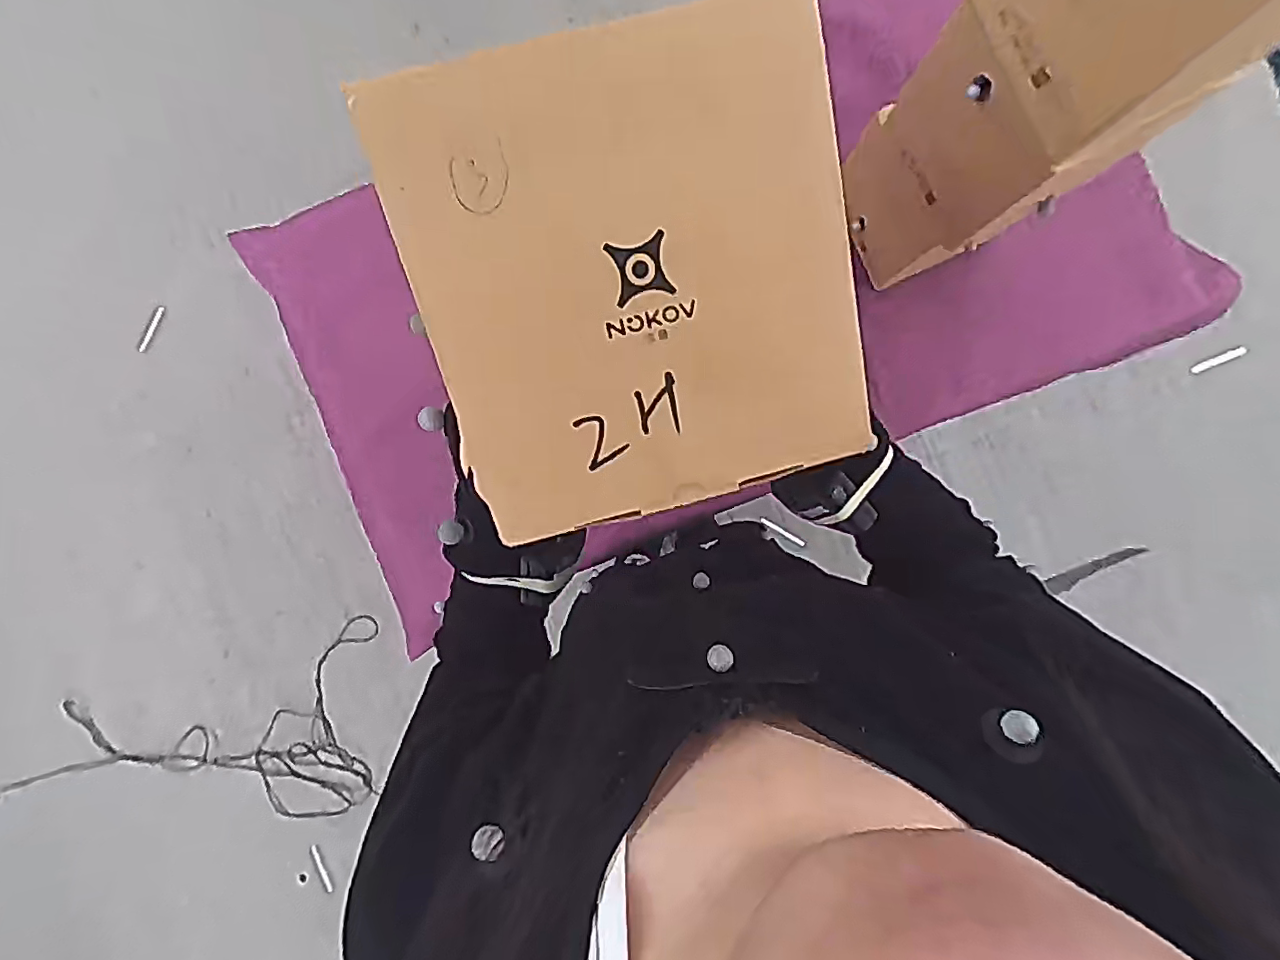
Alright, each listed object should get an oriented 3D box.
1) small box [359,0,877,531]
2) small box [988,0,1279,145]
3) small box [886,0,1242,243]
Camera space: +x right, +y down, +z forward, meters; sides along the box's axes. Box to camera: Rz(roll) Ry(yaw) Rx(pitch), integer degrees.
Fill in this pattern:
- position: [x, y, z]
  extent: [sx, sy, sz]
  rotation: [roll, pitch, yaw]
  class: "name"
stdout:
- position: [-0.005, -0.098, 0.279]
  extent: [0.168, 0.176, 0.179]
  rotation: [-14, 107, -1]
  class: "small box"
- position: [0.371, -0.371, 0.357]
  extent: [0.179, 0.176, 0.168]
  rotation: [-27, 90, 2]
  class: "small box"
- position: [0.379, -0.367, 0.520]
  extent: [0.179, 0.176, 0.168]
  rotation: [-28, 90, 1]
  class: "small box"
